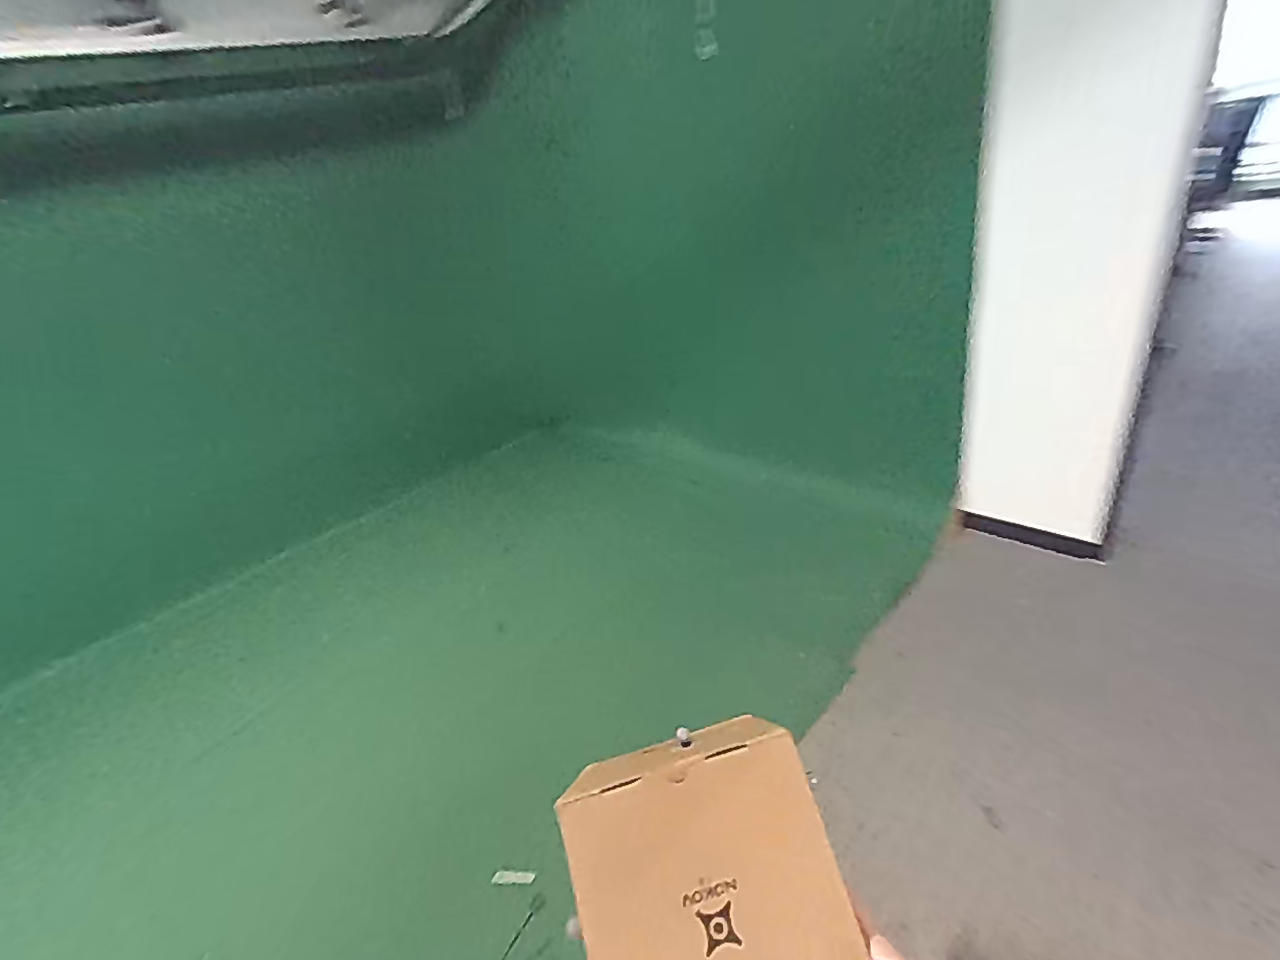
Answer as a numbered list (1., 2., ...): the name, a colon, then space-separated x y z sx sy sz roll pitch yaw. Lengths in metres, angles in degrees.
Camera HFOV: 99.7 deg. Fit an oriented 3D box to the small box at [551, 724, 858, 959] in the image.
1. small box: 0.045 0.302 0.408 0.168 0.176 0.179 -16 69 -5
